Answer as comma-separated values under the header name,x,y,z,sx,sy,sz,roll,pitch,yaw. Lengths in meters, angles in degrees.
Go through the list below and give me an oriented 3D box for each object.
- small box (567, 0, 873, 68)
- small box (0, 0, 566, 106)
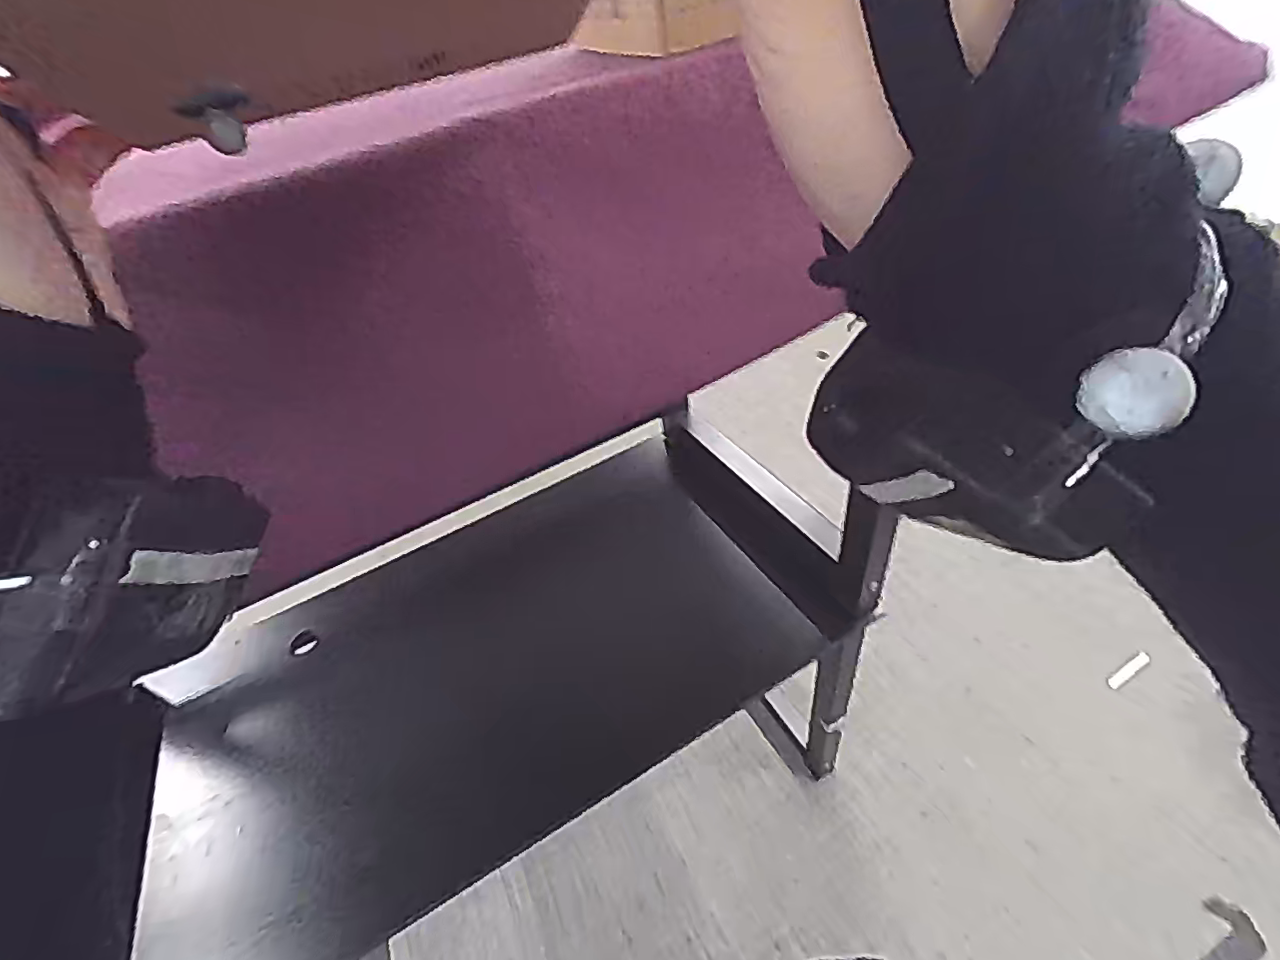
name,x,y,z,sx,sy,sz,roll,pitch,yaw
small box,0.042,-0.359,0.305,0.179,0.176,0.168,-24,43,-10
small box,-0.097,-0.196,0.092,0.168,0.179,0.176,-25,23,-12
